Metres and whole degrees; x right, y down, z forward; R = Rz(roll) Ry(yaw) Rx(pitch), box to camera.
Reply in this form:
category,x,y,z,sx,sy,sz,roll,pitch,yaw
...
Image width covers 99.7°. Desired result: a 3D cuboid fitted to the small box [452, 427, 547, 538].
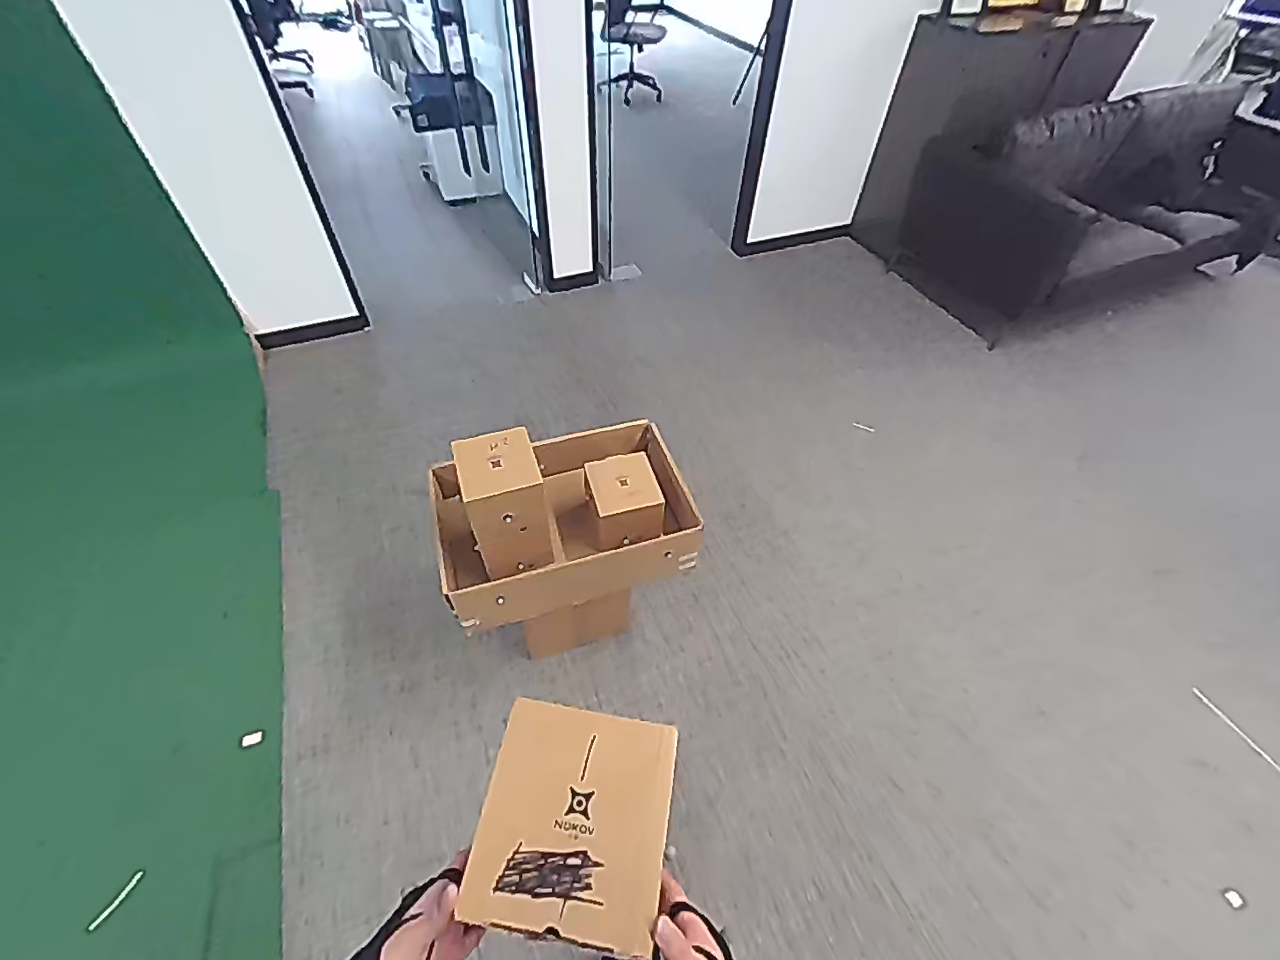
category,x,y,z,sx,sy,sz,roll,pitch,yaw
small box,-0.310,0.012,1.209,0.168,0.176,0.179,-14,53,-15

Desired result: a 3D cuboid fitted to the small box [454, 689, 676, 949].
category,x,y,z,sx,sy,sz,roll,pitch,yaw
small box,-0.062,0.338,0.550,0.168,0.176,0.179,10,54,4
